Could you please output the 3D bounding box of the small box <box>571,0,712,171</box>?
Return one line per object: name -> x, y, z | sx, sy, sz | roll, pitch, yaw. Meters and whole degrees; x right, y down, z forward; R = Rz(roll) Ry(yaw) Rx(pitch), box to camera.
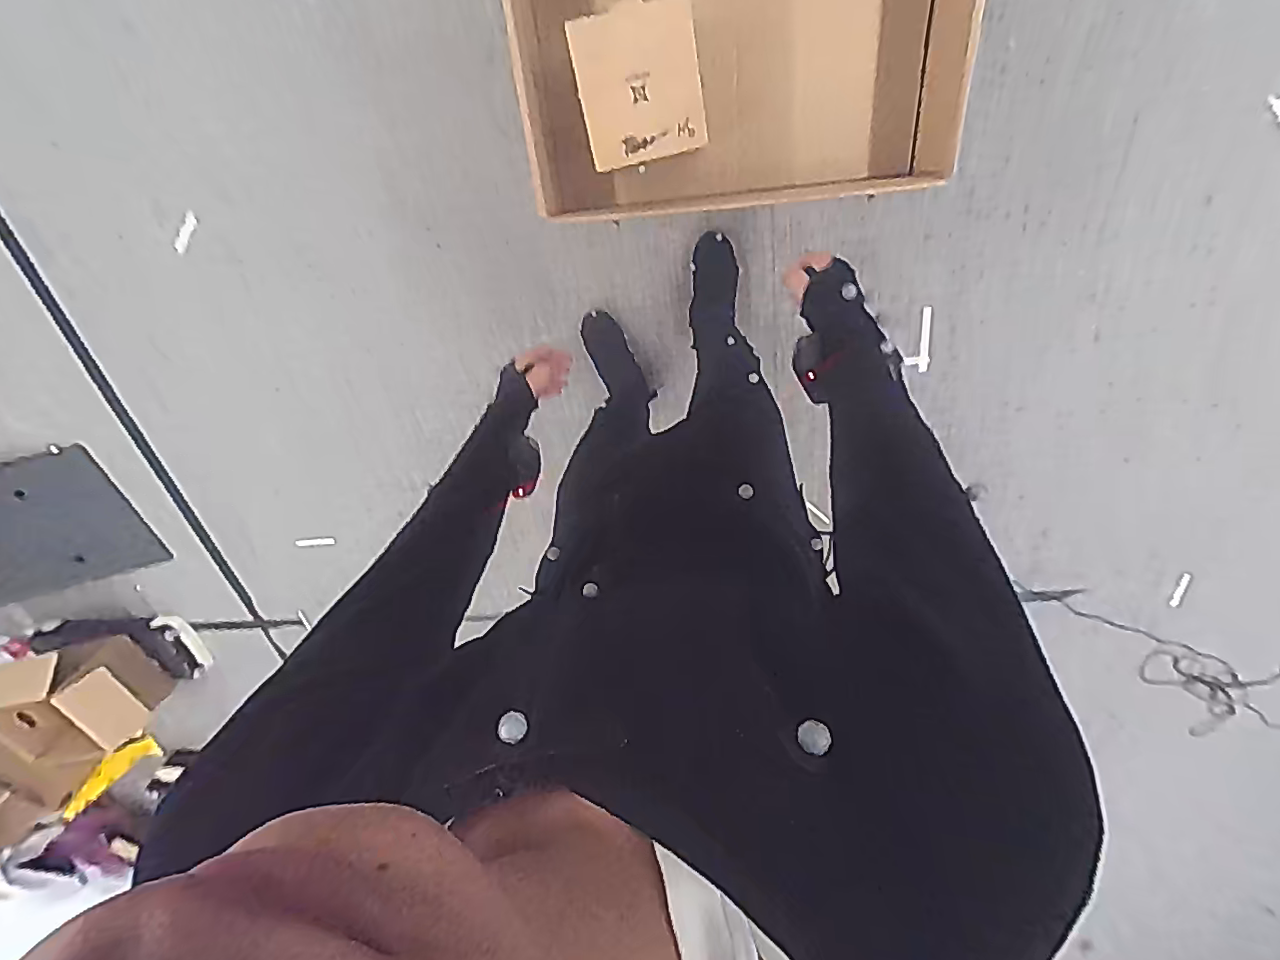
small box -> 0.011, -0.570, 0.795 | 0.168, 0.176, 0.179 | -8, 119, 10
